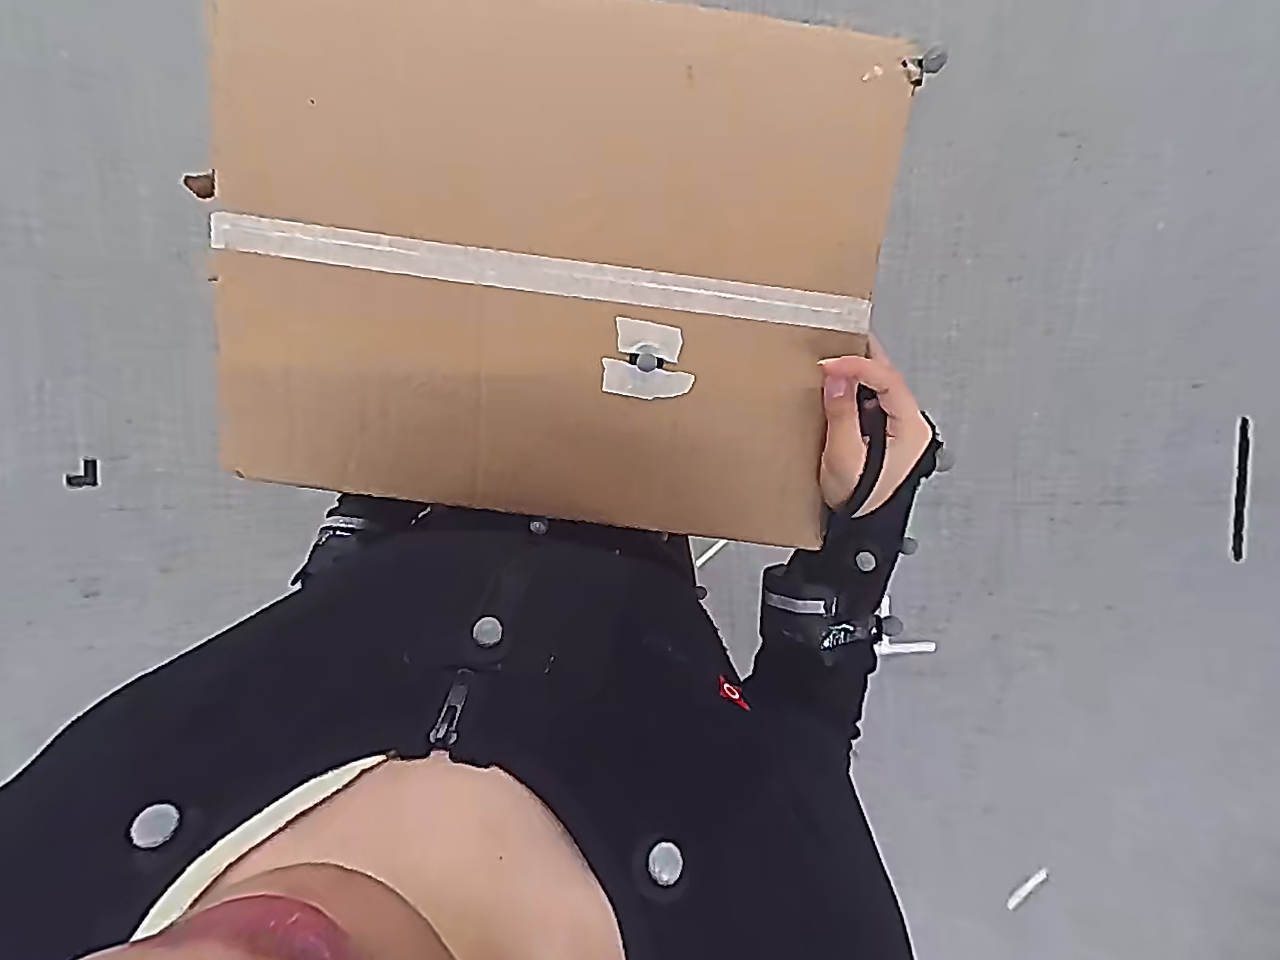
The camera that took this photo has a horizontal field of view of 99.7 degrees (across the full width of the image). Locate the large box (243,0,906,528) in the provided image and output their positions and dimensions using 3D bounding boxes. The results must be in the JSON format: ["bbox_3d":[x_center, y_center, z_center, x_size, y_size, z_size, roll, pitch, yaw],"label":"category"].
[{"bbox_3d":[-0.055,-0.161,0.494,0.408,0.320,0.320,7,102,-3],"label":"large box"}]
